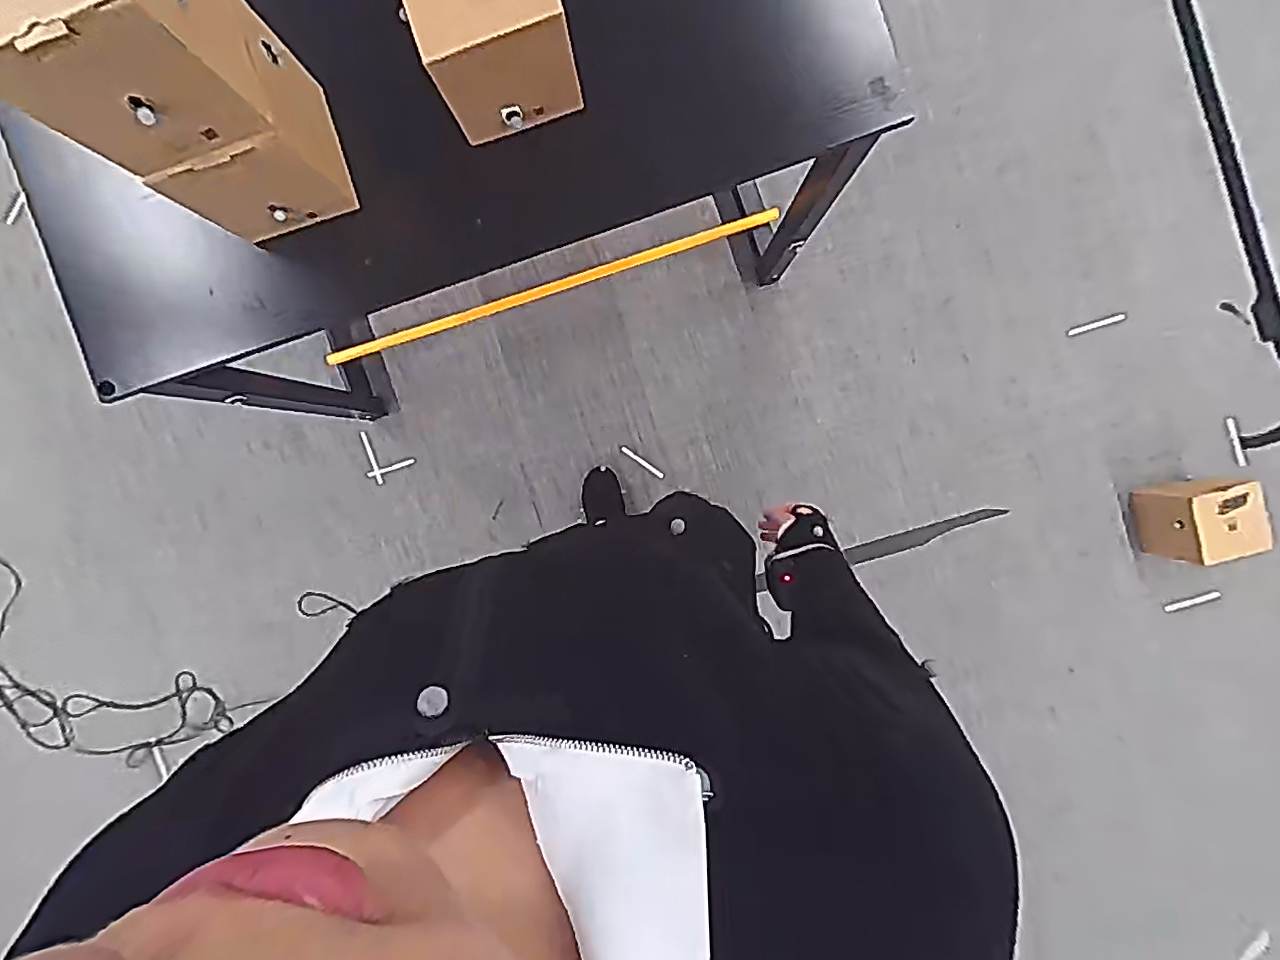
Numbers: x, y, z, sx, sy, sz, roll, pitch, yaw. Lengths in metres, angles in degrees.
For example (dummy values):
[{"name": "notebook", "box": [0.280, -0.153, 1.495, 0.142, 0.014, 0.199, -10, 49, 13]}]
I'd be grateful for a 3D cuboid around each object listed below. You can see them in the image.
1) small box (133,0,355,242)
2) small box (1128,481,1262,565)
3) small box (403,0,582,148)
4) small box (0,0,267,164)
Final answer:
[{"name": "small box", "box": [-0.495, -0.432, 0.673, 0.168, 0.176, 0.179, -17, 92, 2]}, {"name": "small box", "box": [1.418, 0.103, 1.395, 0.168, 0.176, 0.179, -15, 93, 2]}, {"name": "small box", "box": [-0.182, -0.559, 0.666, 0.168, 0.176, 0.179, -19, 92, 3]}, {"name": "small box", "box": [-0.502, -0.434, 0.509, 0.168, 0.176, 0.179, -20, 92, 1]}]
